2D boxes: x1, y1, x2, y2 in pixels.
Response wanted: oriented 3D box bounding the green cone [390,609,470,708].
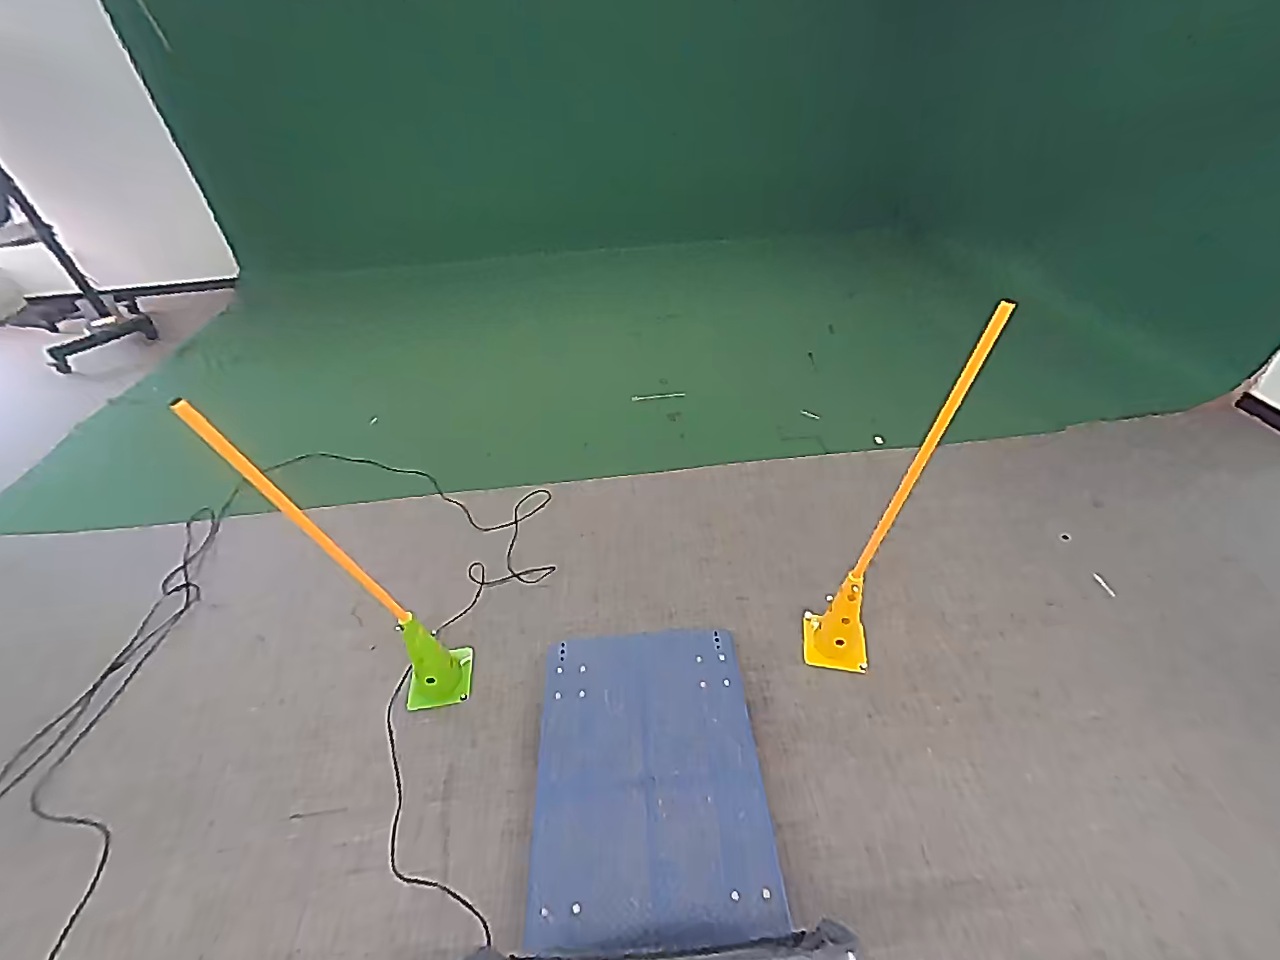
[{"bbox_3d":[-0.686,0.522,1.688,0.202,0.368,0.200,-10,41,-4],"label":"green cone"}]
